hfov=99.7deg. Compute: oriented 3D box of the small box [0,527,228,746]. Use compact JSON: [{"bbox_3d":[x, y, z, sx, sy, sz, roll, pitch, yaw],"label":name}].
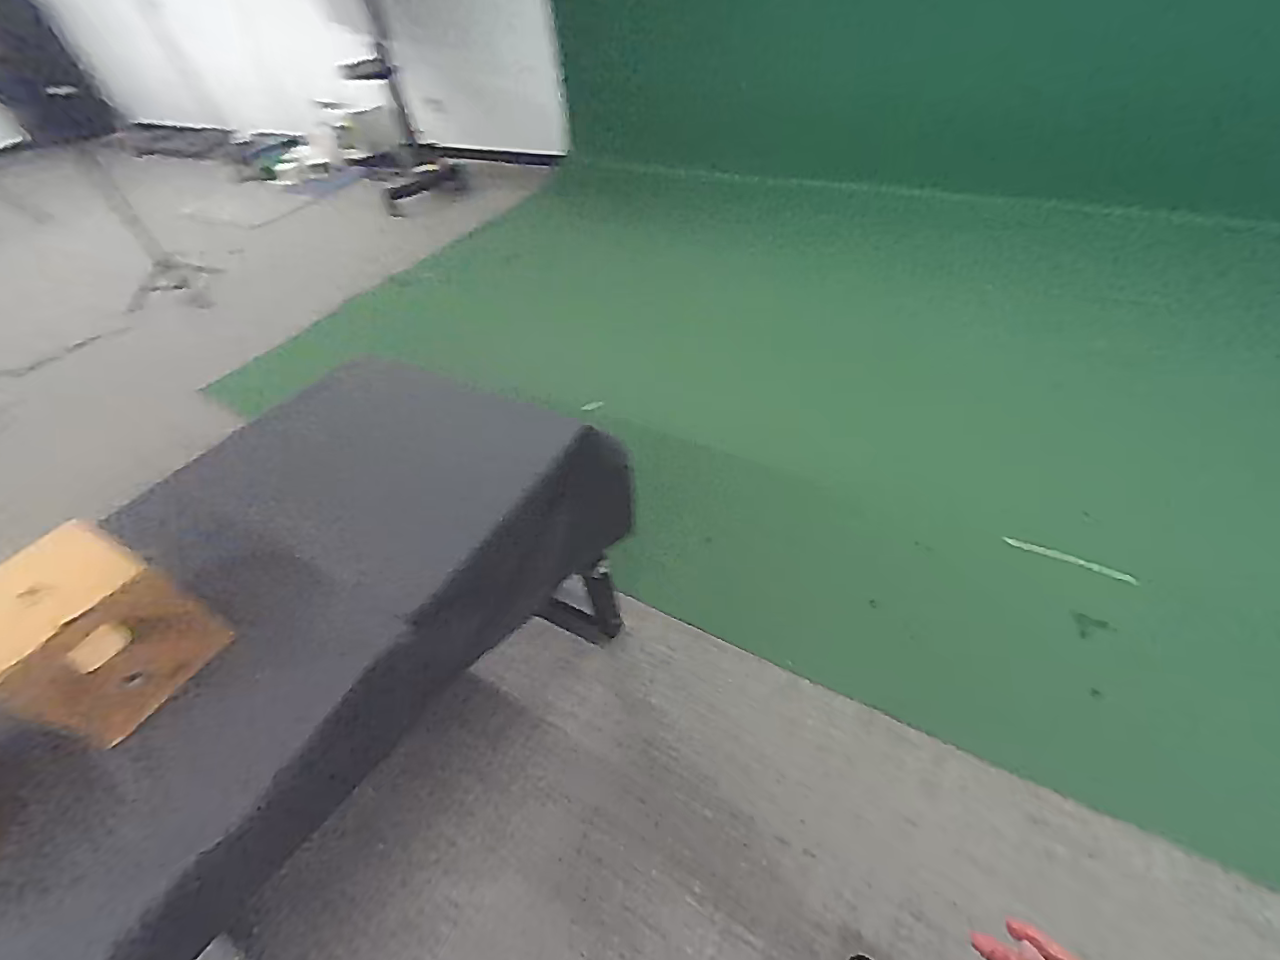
[{"bbox_3d":[-0.671,0.191,0.661,0.179,0.176,0.168,19,52,23],"label":"small box"}]
